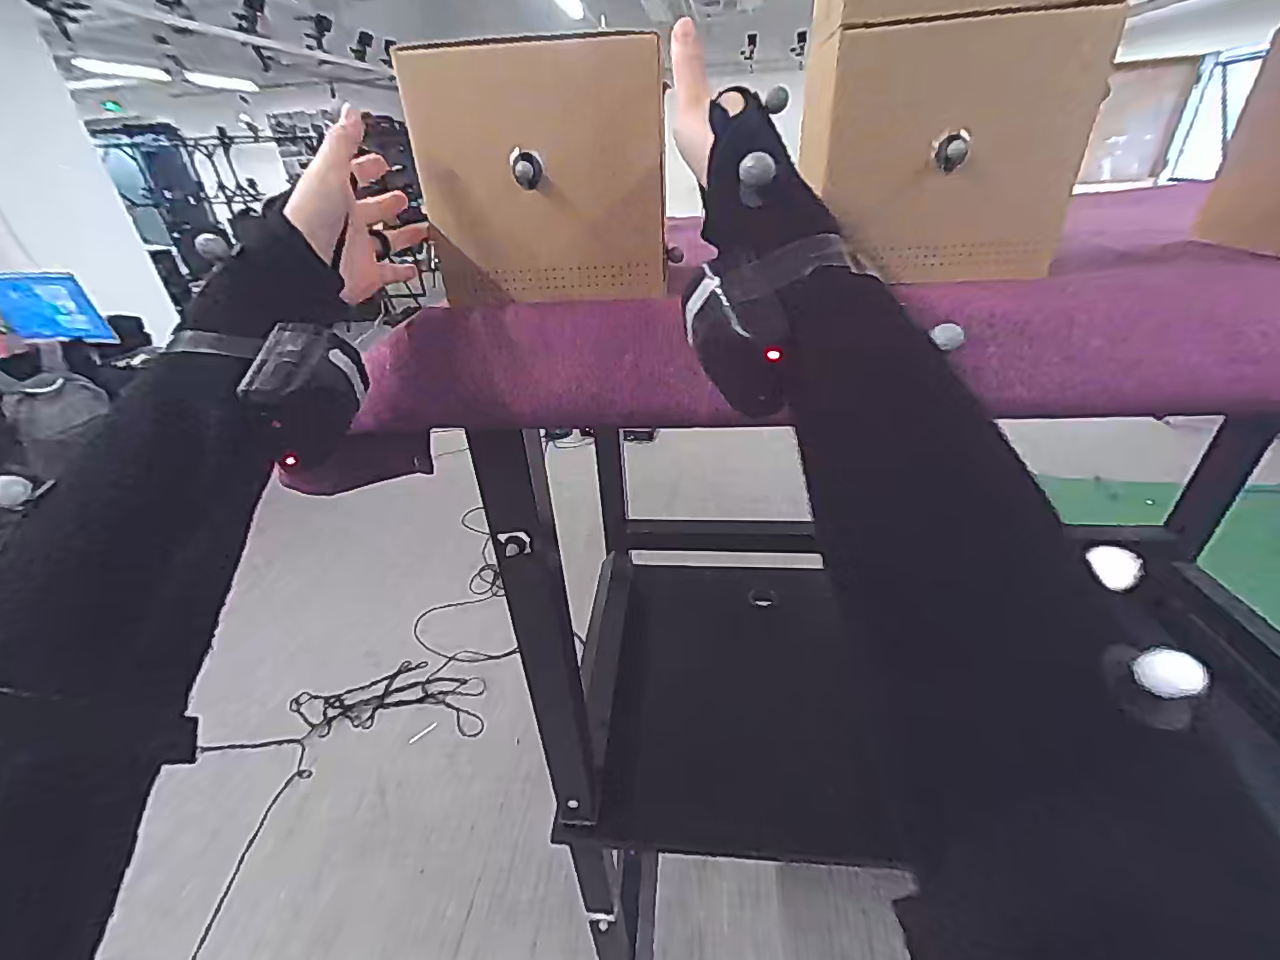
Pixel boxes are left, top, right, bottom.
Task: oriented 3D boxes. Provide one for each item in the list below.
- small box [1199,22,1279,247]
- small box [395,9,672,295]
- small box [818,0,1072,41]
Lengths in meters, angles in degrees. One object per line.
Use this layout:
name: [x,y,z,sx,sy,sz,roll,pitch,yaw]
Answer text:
small box: [0.592,-0.262,0.396,0.168,0.176,0.179,3,30,11]
small box: [-0.062,-0.258,0.444,0.179,0.176,0.168,-2,32,4]
small box: [0.228,-0.416,0.363,0.179,0.176,0.168,1,32,9]
